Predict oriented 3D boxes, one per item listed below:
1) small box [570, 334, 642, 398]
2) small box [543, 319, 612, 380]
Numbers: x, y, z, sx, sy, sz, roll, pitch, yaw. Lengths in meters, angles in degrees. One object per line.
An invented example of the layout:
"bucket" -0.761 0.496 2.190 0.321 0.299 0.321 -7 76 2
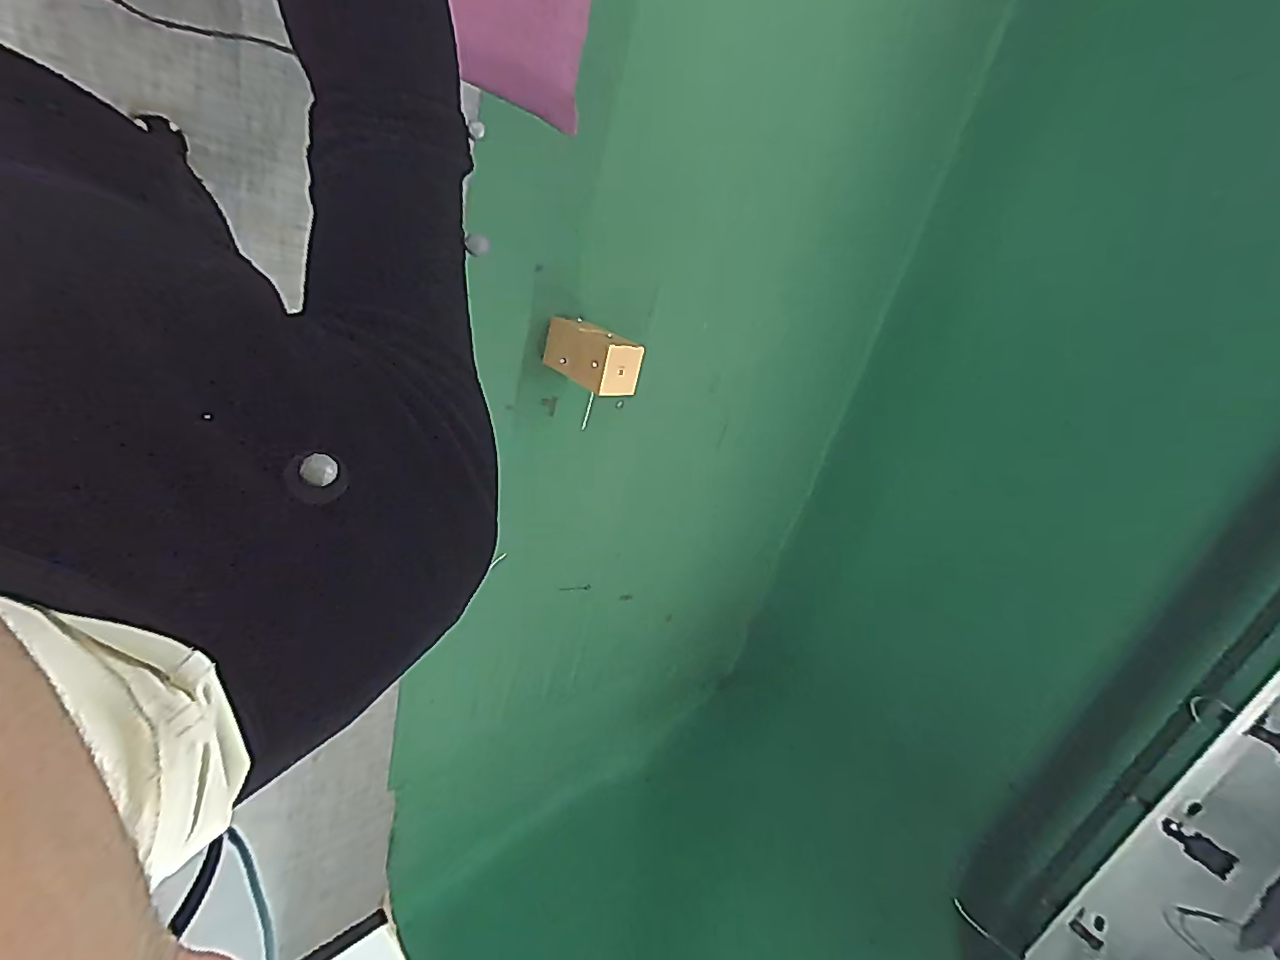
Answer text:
"small box" -0.124 -0.396 1.881 0.168 0.176 0.179 -10 122 -44
"small box" -0.233 -0.472 1.974 0.168 0.176 0.179 -7 121 -46
